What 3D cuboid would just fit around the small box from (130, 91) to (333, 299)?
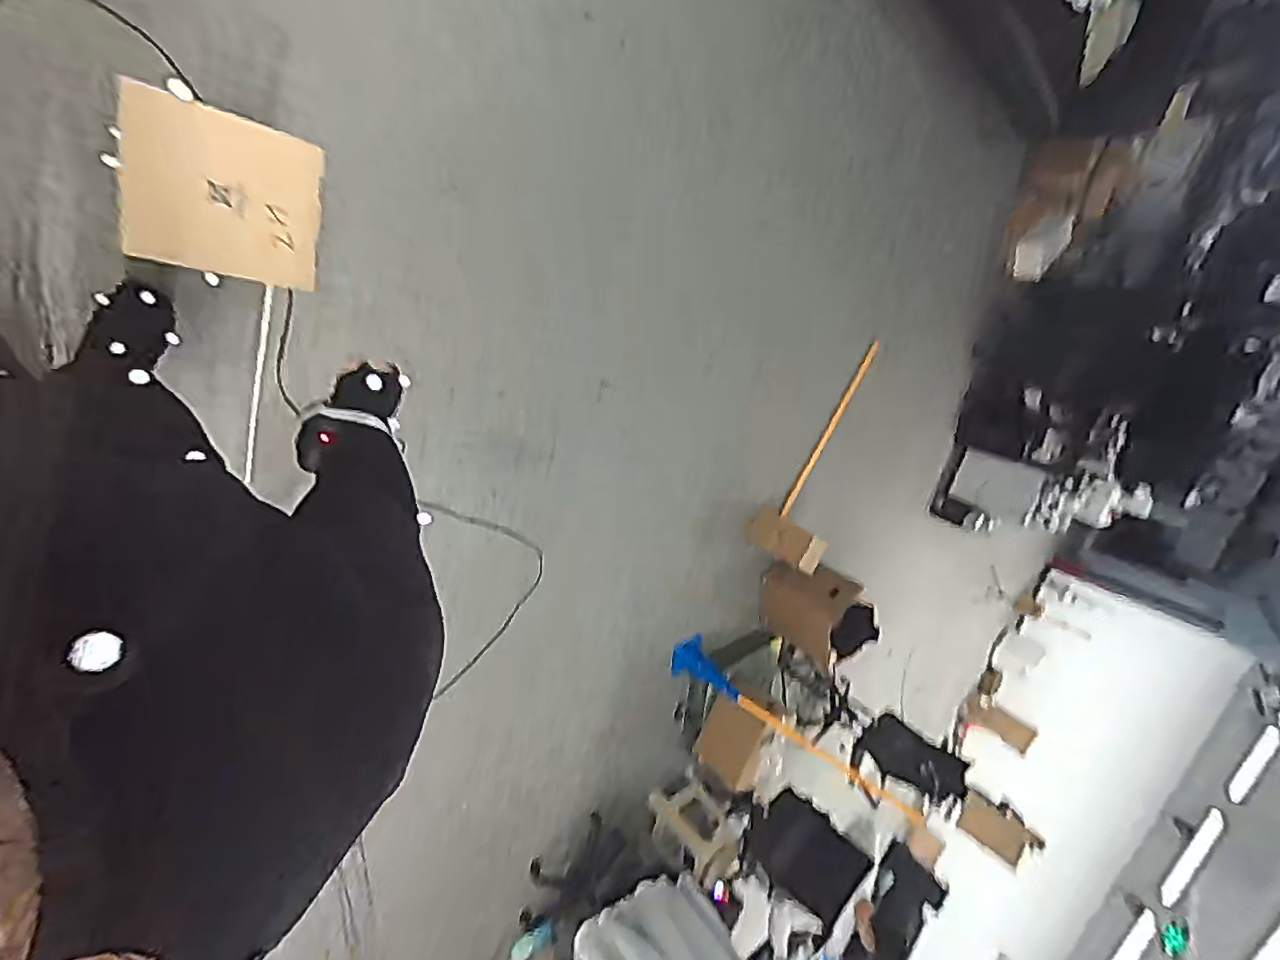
[{"bbox_3d":[-0.496,-0.330,0.660,0.179,0.176,0.168,1,110,-41],"label":"small box"}]
